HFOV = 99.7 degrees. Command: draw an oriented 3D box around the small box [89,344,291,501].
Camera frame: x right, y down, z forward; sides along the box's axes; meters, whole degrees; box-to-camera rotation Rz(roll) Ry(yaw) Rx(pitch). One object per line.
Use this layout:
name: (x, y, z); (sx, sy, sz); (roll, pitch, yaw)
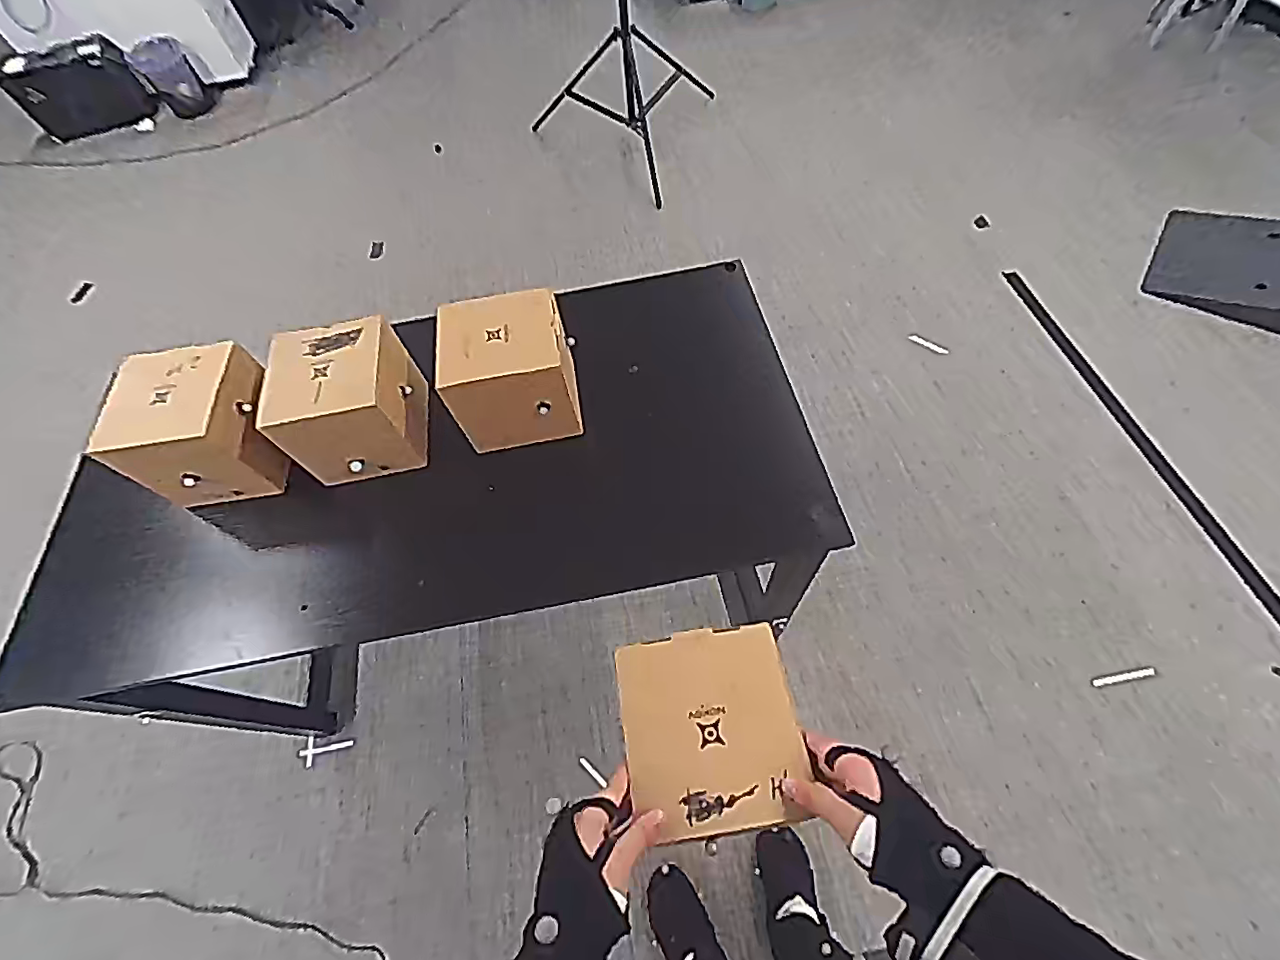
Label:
small box: (-0.665, -0.078, 0.836); (0.168, 0.176, 0.179); (-8, 60, 0)

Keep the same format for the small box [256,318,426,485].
small box: (-0.444, -0.117, 0.836); (0.168, 0.176, 0.179); (-12, 62, -2)

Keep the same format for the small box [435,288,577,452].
small box: (-0.200, -0.165, 0.844); (0.179, 0.176, 0.168); (-12, 59, 0)

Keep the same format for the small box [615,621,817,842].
small box: (0.069, 0.274, 0.581); (0.168, 0.176, 0.179); (-9, 56, -1)
